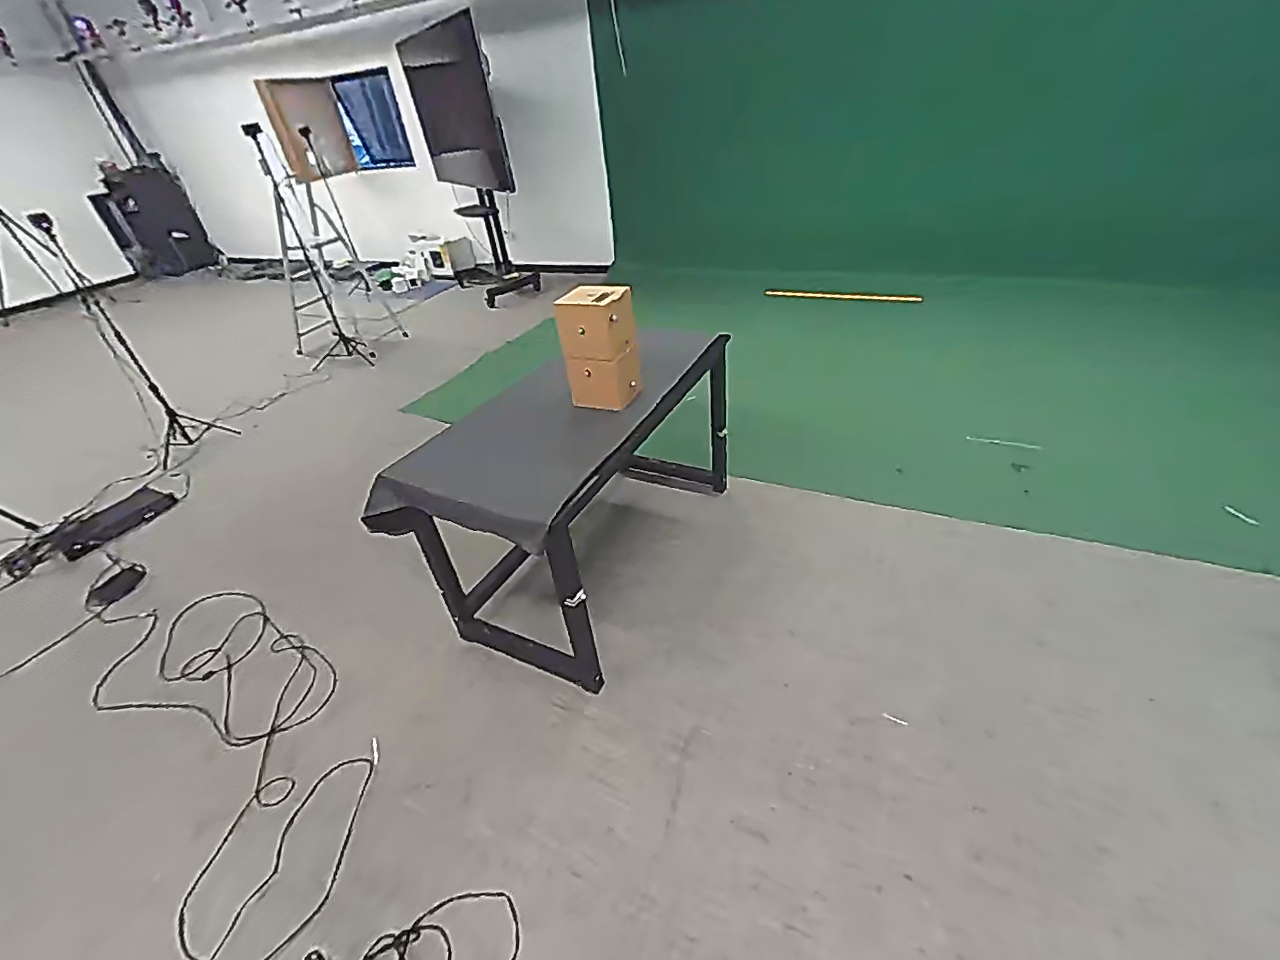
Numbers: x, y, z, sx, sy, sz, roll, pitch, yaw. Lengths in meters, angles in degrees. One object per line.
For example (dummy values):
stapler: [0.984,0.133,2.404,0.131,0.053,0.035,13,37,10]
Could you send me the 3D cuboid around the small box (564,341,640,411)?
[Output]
small box: [-0.115,-0.331,1.716,0.179,0.176,0.168,9,38,22]
